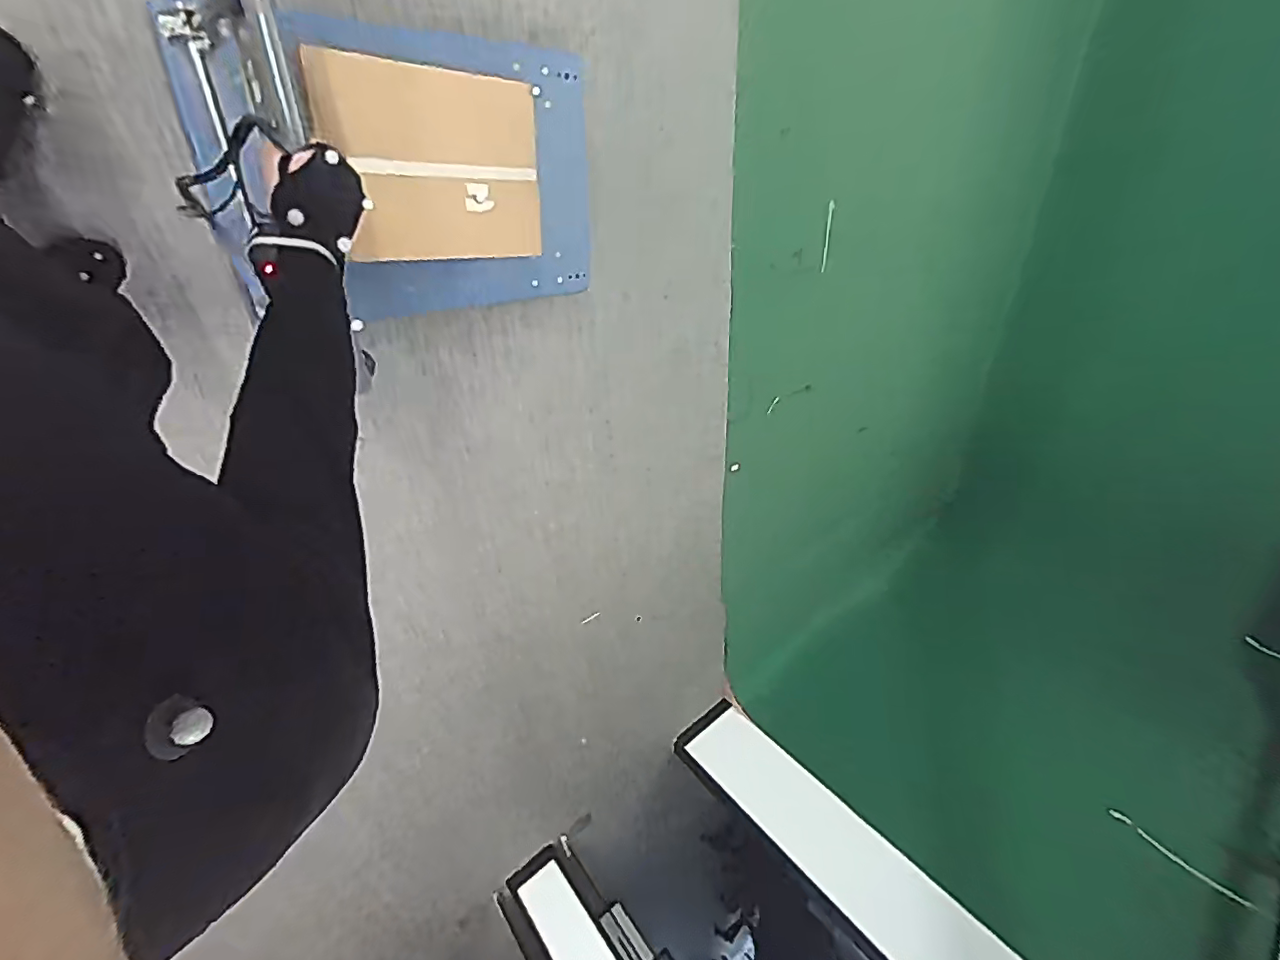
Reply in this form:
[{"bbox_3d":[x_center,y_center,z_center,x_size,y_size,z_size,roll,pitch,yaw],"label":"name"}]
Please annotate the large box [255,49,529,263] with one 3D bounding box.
[{"bbox_3d":[-0.489,-0.633,1.107,0.408,0.320,0.320,-20,125,-36],"label":"large box"}]
